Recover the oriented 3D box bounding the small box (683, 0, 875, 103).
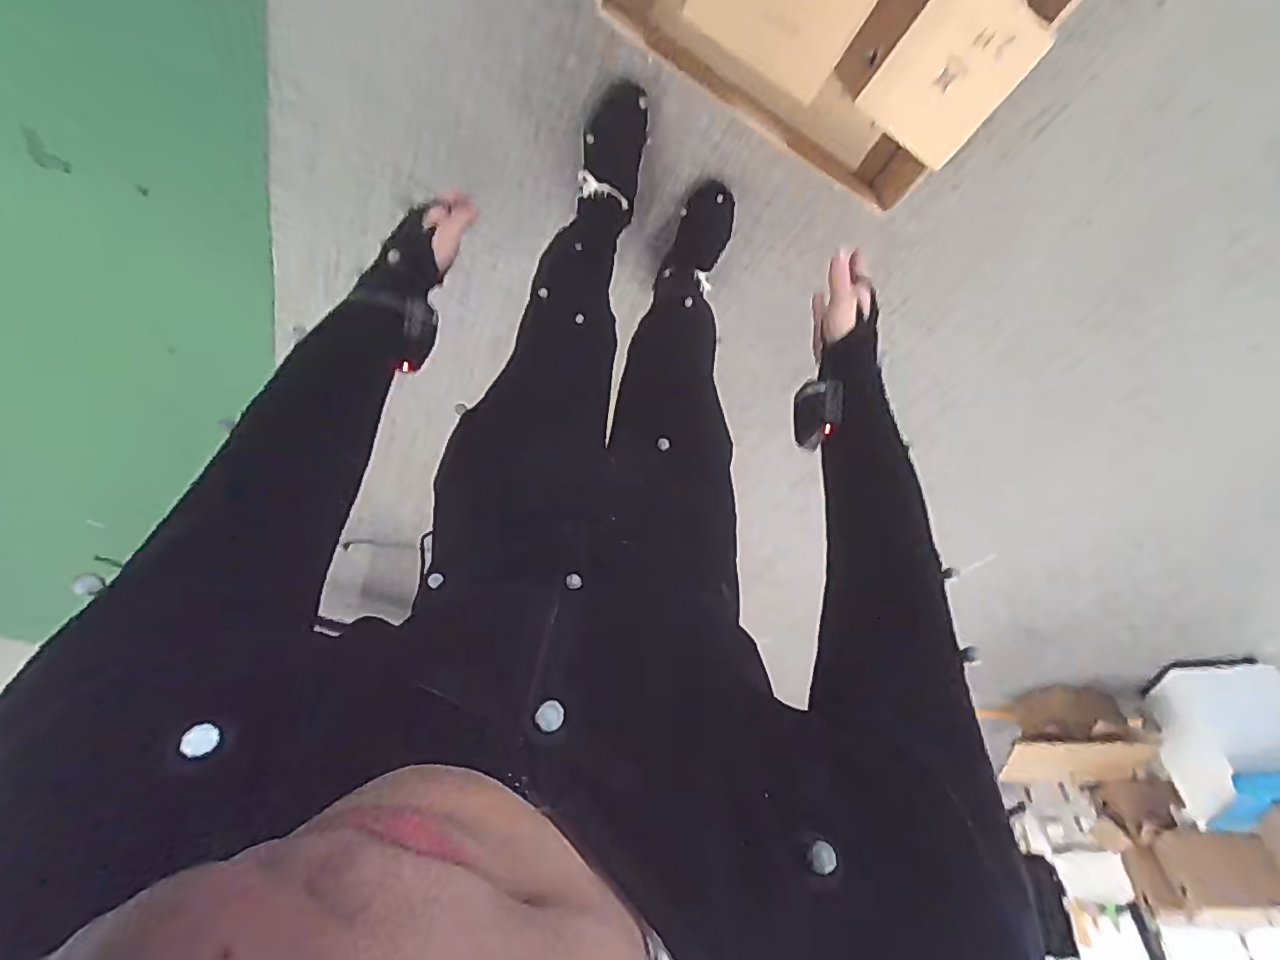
[{"bbox_3d":[0.154,-0.548,0.558,0.168,0.176,0.179,21,137,-19],"label":"small box"}]

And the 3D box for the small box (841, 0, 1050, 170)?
[{"bbox_3d":[0.401,-0.582,0.748,0.168,0.176,0.179,24,134,-19],"label":"small box"}]
